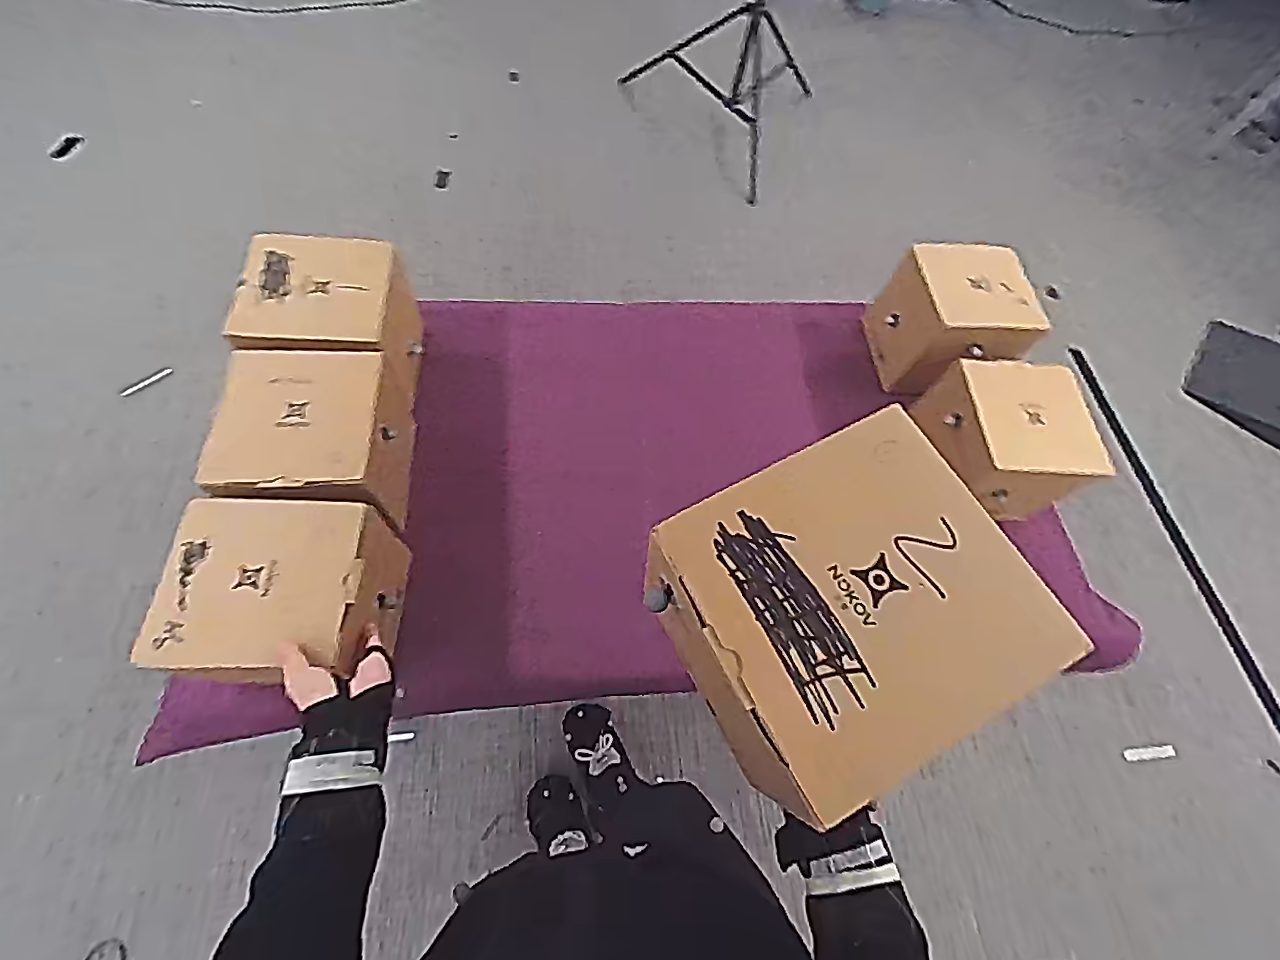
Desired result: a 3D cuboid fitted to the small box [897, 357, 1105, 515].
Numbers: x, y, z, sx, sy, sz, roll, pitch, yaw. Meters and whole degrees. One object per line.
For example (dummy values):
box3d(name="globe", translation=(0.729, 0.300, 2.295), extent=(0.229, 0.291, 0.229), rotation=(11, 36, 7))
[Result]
box3d(name="small box", translation=(0.512, -0.057, 0.798), extent=(0.168, 0.176, 0.179), rotation=(2, 63, -5))

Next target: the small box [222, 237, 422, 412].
box3d(name="small box", translation=(-0.419, -0.206, 0.747), extent=(0.179, 0.176, 0.168), rotation=(0, 67, -9))

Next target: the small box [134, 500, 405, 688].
box3d(name="small box", translation=(-0.375, 0.132, 0.593), extent=(0.179, 0.176, 0.168), rotation=(2, 64, -8))

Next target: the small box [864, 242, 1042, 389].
box3d(name="small box", translation=(0.491, -0.261, 0.886), extent=(0.179, 0.176, 0.168), rotation=(-1, 66, -8))
